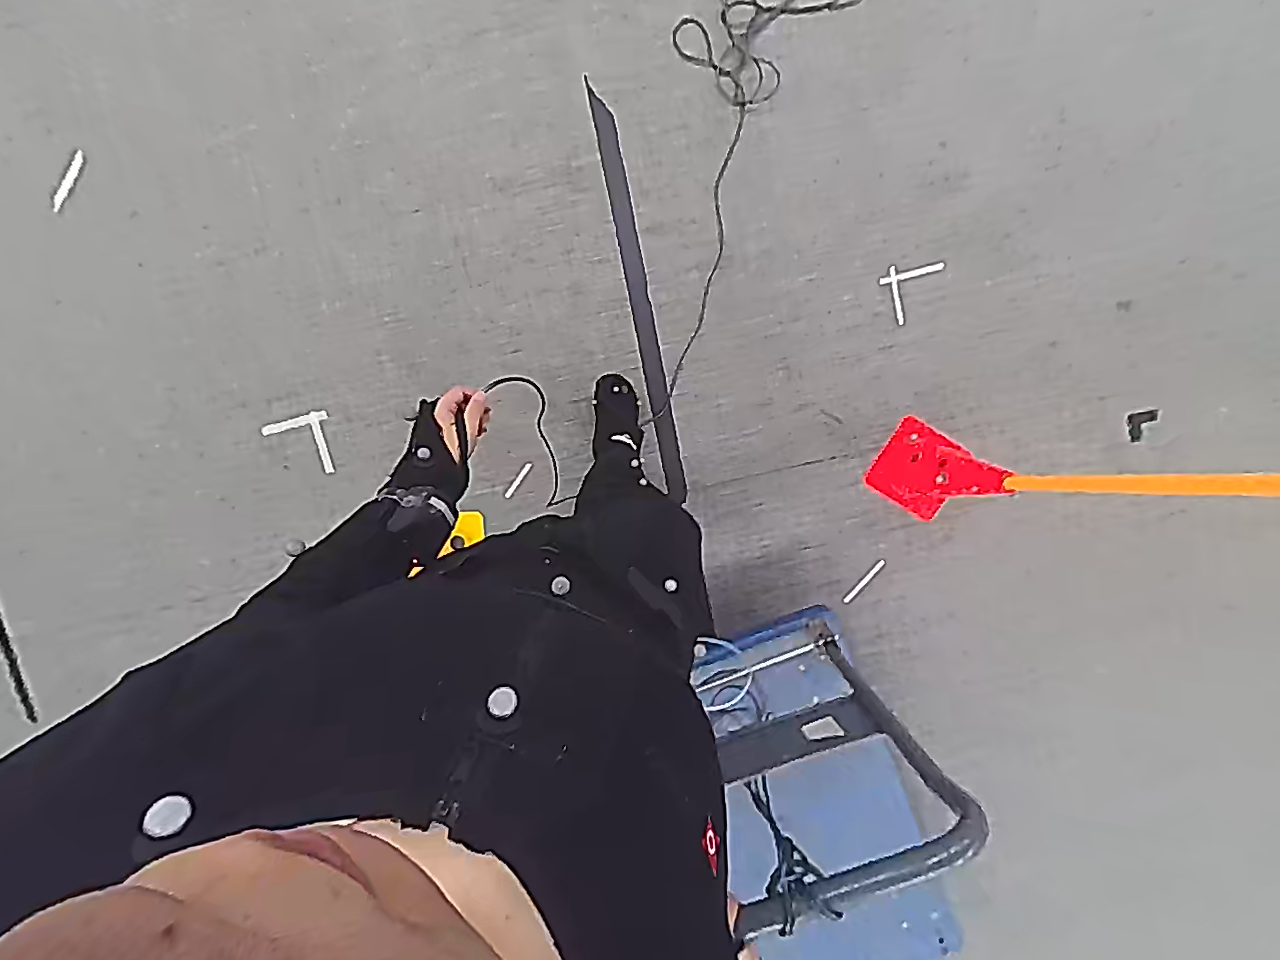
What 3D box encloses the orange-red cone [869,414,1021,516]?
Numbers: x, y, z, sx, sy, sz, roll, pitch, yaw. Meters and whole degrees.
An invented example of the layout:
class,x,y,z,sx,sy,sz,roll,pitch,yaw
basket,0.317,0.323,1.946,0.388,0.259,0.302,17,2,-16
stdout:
class,x,y,z,sx,sy,sz,roll,pitch,yaw
orange-red cone,0.673,-0.016,1.138,0.198,0.360,0.199,33,97,-1
